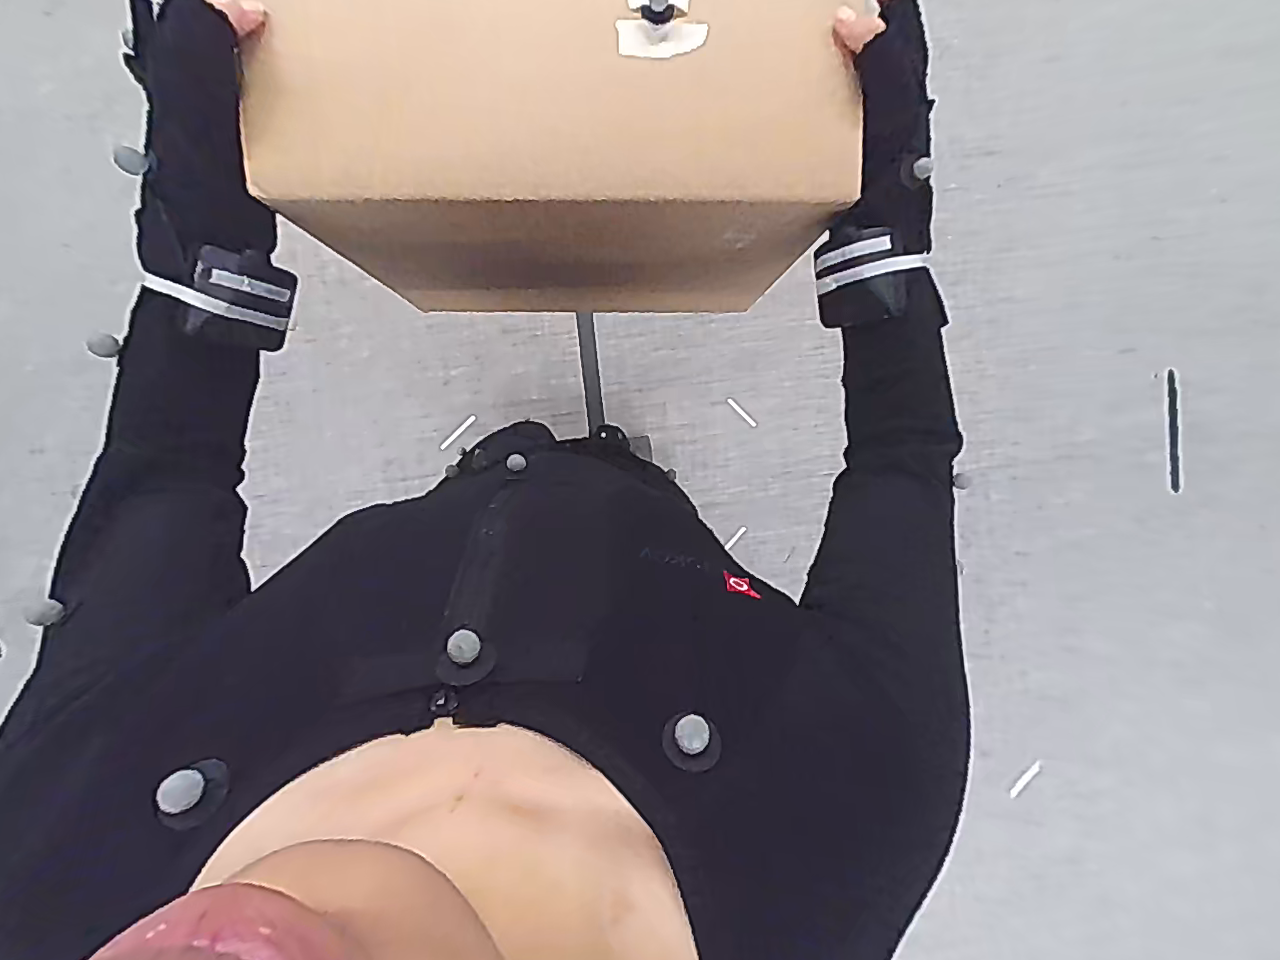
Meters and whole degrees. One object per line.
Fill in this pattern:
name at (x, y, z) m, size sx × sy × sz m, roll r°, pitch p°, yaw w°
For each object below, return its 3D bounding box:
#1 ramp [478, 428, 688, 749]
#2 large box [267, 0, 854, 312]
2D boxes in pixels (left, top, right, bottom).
ramp at (-0.139, 0.359, 1.611) m, size 0.509 × 0.206 × 0.991 m, roll -9°, pitch 97°, yaw -3°
large box at (-0.058, -0.357, 0.516) m, size 0.408 × 0.320 × 0.320 m, roll -1°, pitch 94°, yaw -3°
